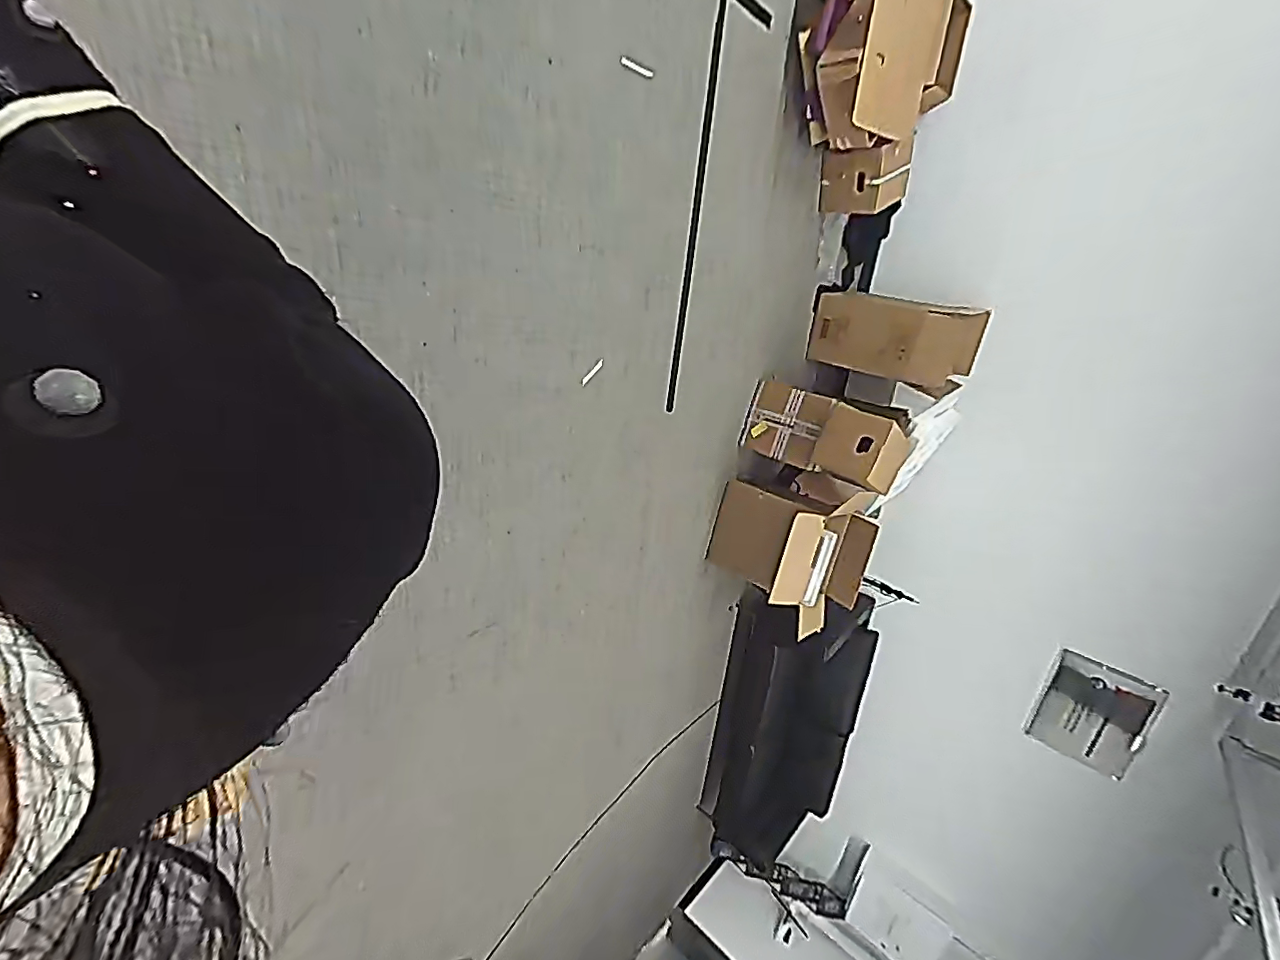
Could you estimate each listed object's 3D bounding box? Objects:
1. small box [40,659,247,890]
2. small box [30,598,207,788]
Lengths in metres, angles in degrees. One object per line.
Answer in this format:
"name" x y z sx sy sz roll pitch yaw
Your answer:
"small box" -0.642 0.359 0.705 0.168 0.176 0.179 -12 116 -50
"small box" -0.764 0.301 0.798 0.168 0.176 0.179 -9 113 -51
